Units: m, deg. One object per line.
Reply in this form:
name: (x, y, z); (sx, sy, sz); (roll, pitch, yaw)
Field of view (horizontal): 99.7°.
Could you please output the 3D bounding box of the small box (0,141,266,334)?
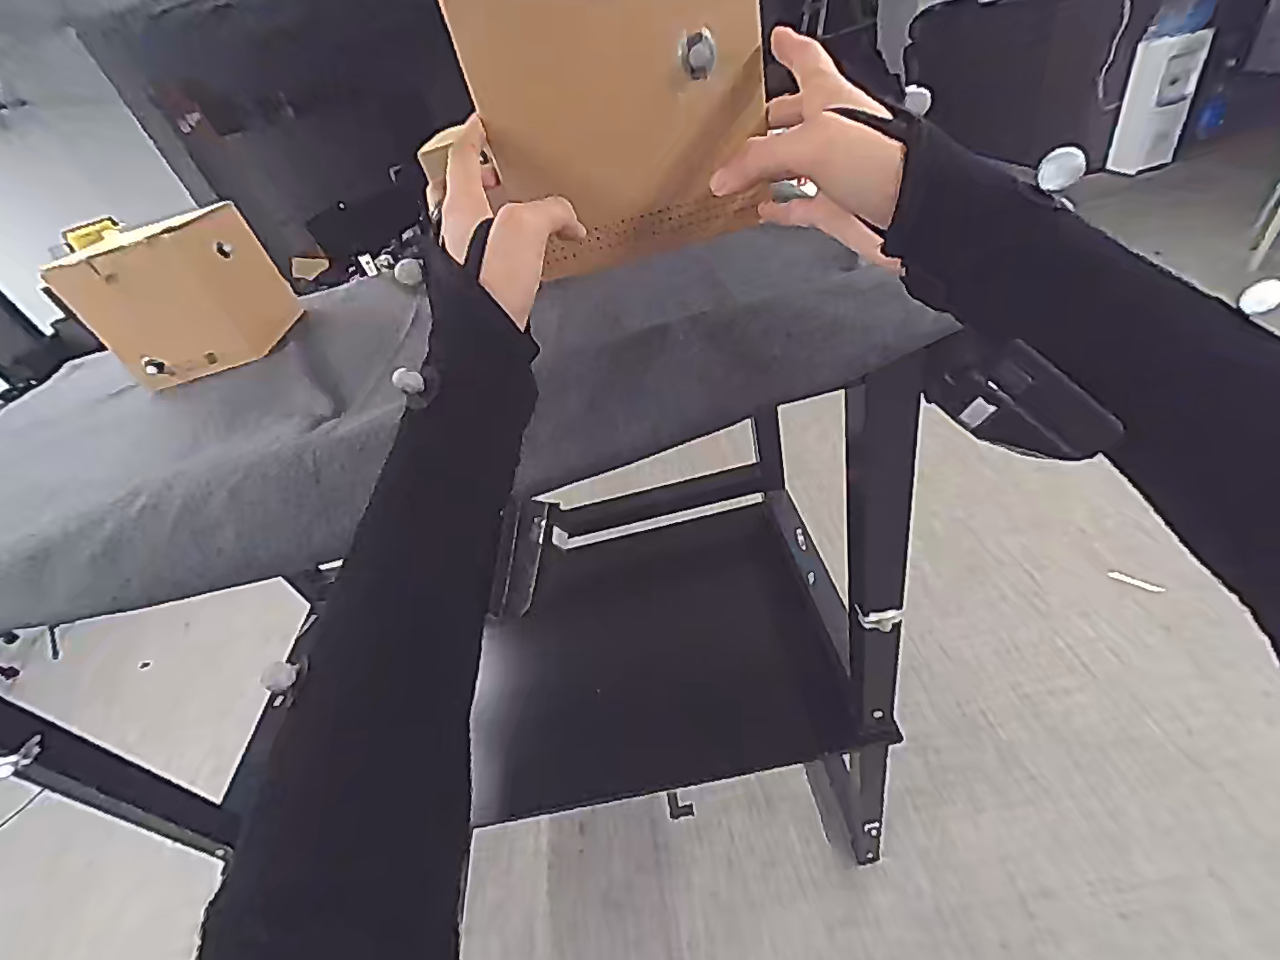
small box: (-0.630, -0.305, 0.692); (0.168, 0.176, 0.179); (-16, 39, 1)
